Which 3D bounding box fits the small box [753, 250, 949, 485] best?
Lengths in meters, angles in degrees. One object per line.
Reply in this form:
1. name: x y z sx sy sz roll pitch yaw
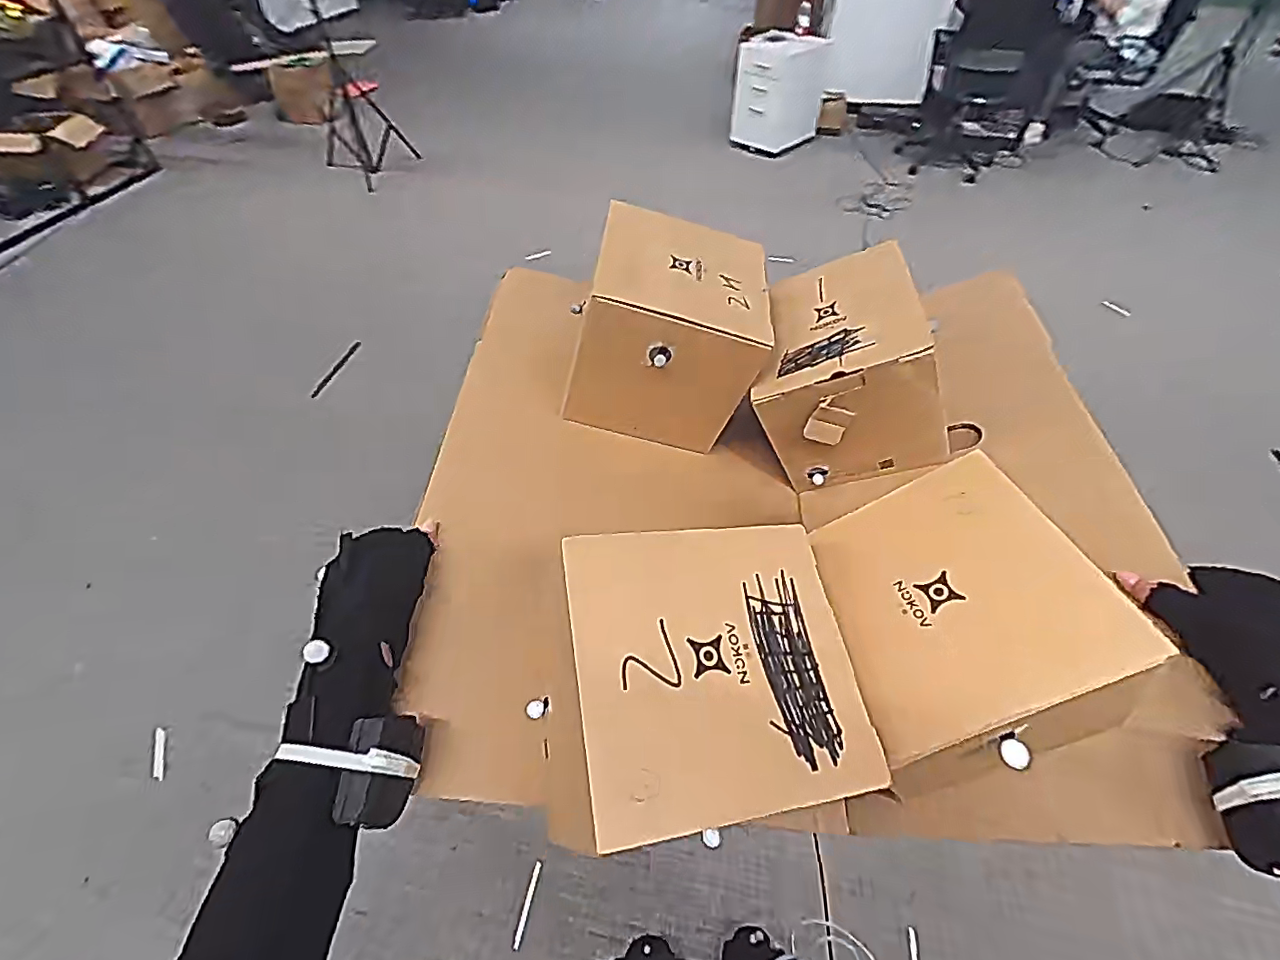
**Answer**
1. small box: 0.233 -0.111 0.606 0.168 0.176 0.179 -13 48 26
